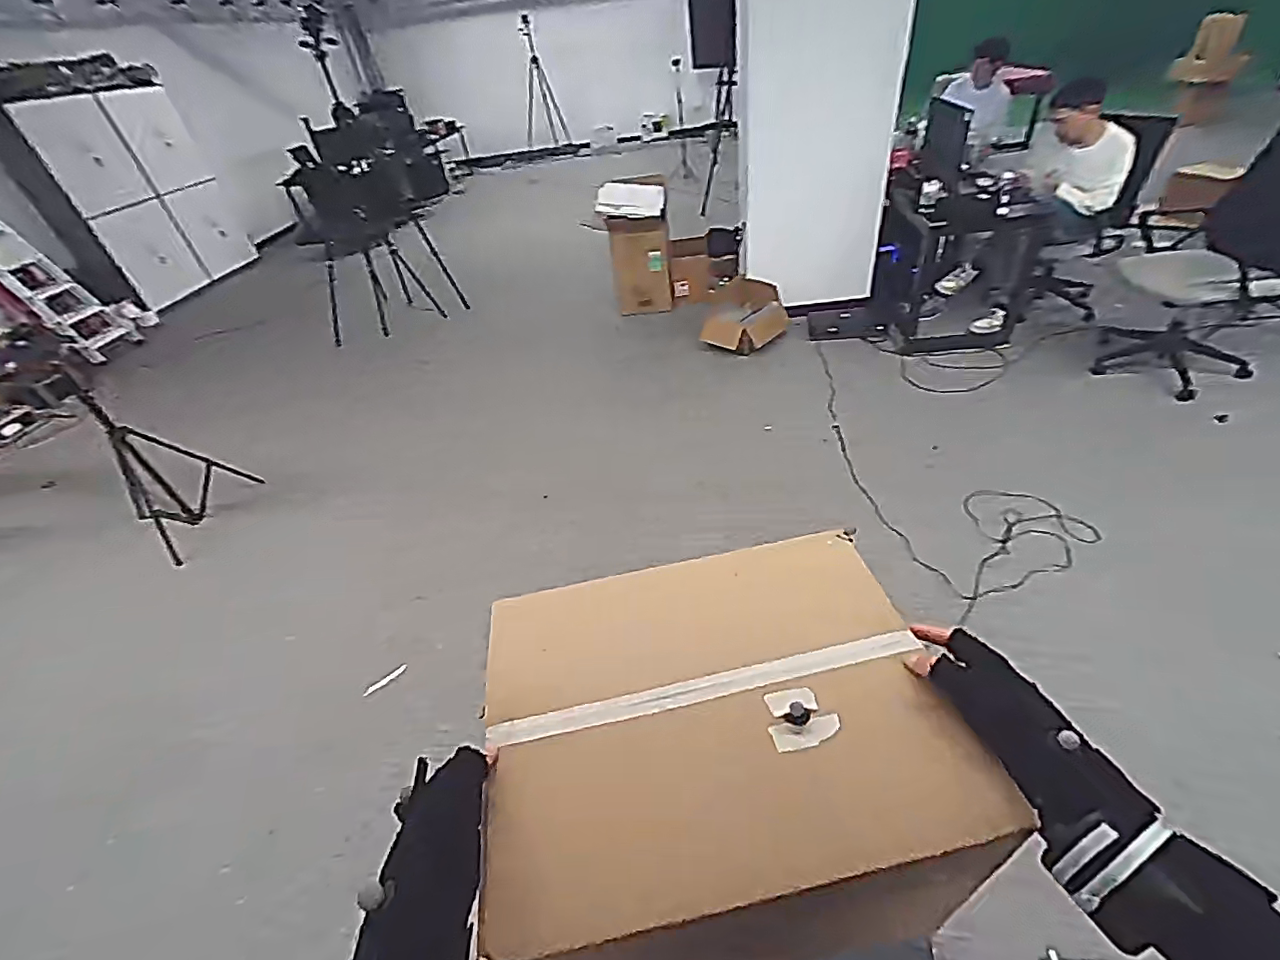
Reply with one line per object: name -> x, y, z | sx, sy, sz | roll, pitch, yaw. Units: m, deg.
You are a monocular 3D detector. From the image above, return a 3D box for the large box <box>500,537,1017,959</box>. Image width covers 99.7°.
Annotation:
large box -> 0.083, 0.312, 0.599 | 0.408, 0.320, 0.320 | -11, 39, -4
